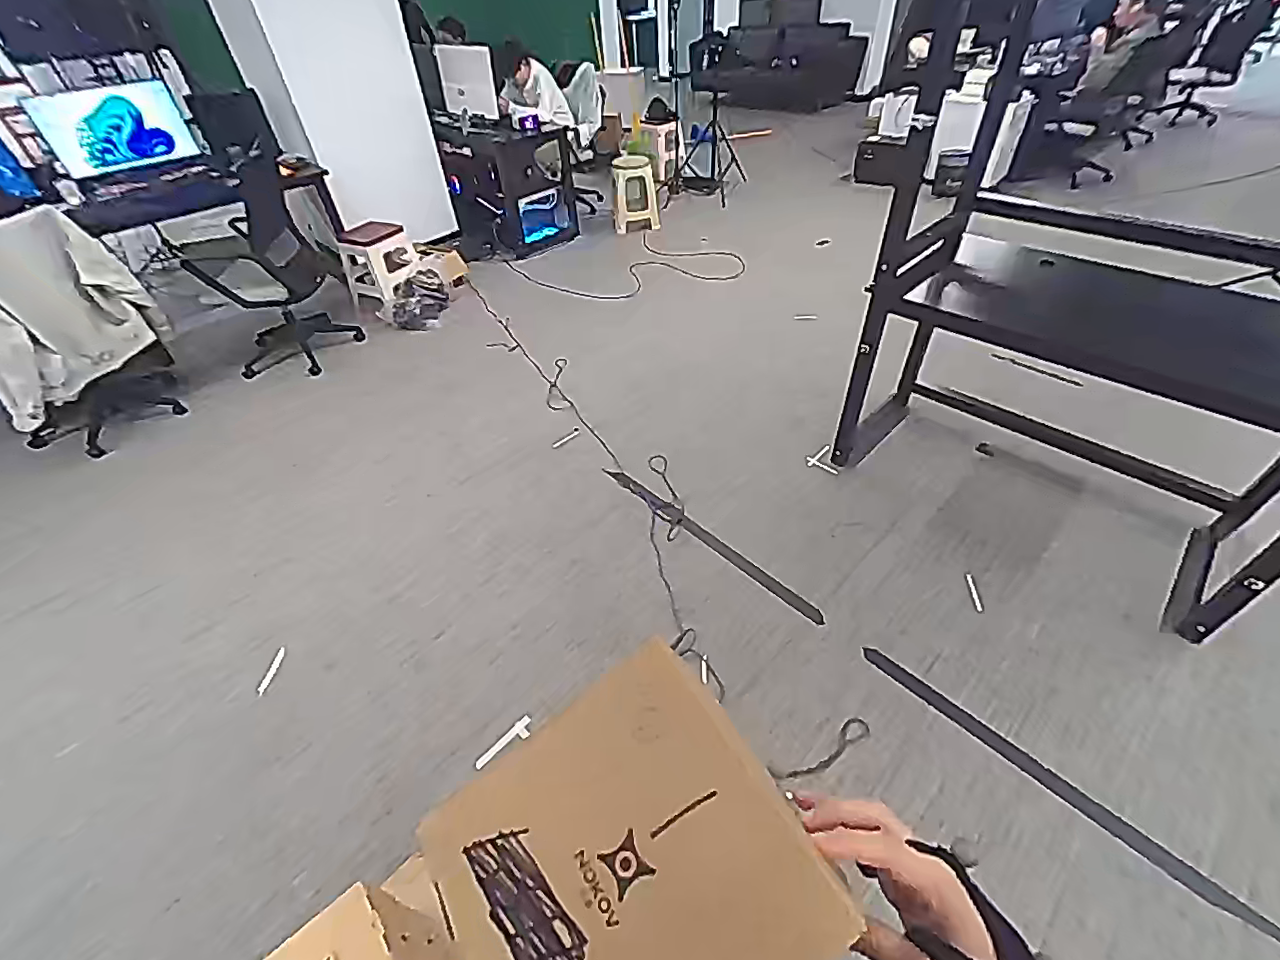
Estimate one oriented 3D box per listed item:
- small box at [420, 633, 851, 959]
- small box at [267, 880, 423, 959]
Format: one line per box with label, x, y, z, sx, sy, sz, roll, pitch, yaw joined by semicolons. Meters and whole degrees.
small box;0.006;0.231;0.340;0.179;0.176;0.168;-37;58;-6
small box;-0.506;0.860;0.944;0.179;0.176;0.168;-32;50;-28
